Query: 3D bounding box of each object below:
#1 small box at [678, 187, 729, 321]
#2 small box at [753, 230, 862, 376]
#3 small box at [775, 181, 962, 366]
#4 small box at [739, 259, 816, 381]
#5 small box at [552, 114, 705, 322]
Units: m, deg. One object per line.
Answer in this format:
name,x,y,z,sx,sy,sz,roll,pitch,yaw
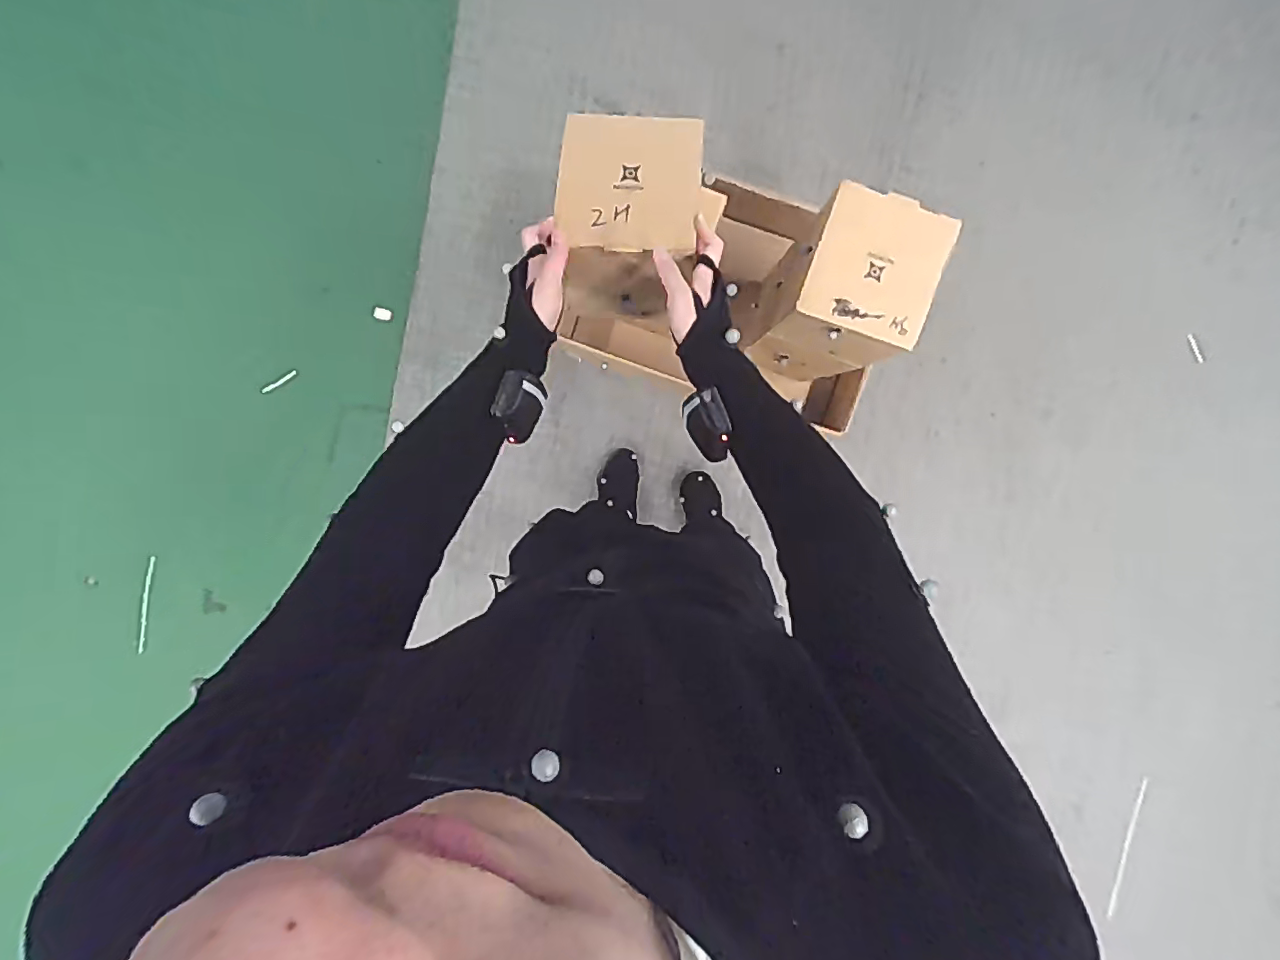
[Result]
small box,0.035,-0.398,0.934,0.168,0.176,0.179,20,95,-1
small box,0.310,-0.294,0.939,0.168,0.176,0.179,20,95,-1
small box,0.310,-0.280,0.776,0.168,0.176,0.179,20,95,0
small box,0.313,-0.313,1.101,0.168,0.176,0.179,20,94,-1
small box,-0.011,-0.326,0.696,0.168,0.176,0.179,3,81,2
